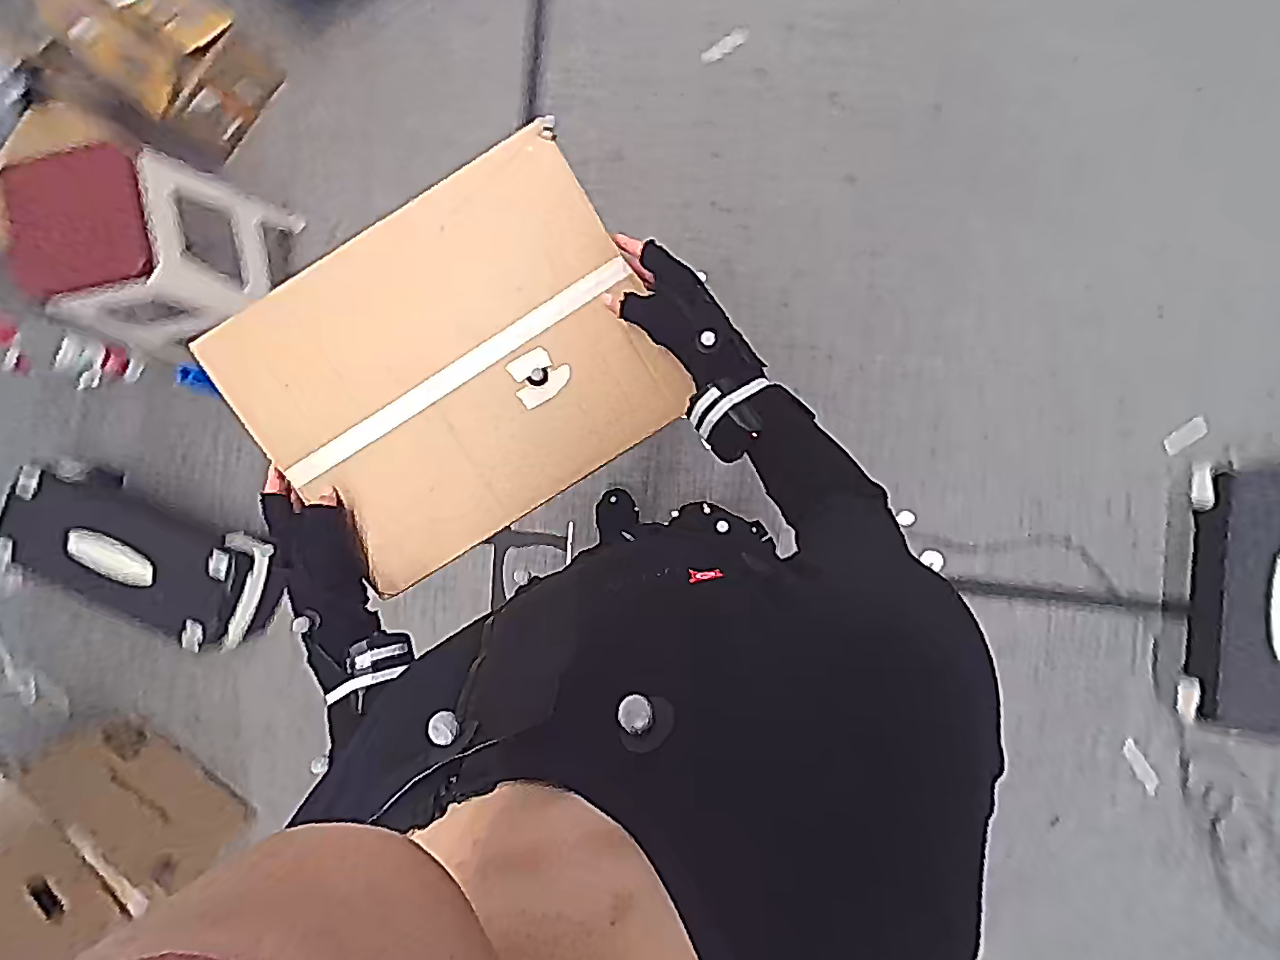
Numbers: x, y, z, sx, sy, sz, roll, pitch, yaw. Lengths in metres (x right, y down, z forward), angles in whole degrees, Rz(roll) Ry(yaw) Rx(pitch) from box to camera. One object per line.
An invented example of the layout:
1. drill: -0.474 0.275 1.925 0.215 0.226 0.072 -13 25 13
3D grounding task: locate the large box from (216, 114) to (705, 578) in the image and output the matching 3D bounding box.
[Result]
1. large box: -0.184 -0.143 0.694 0.408 0.320 0.320 -31 100 1
